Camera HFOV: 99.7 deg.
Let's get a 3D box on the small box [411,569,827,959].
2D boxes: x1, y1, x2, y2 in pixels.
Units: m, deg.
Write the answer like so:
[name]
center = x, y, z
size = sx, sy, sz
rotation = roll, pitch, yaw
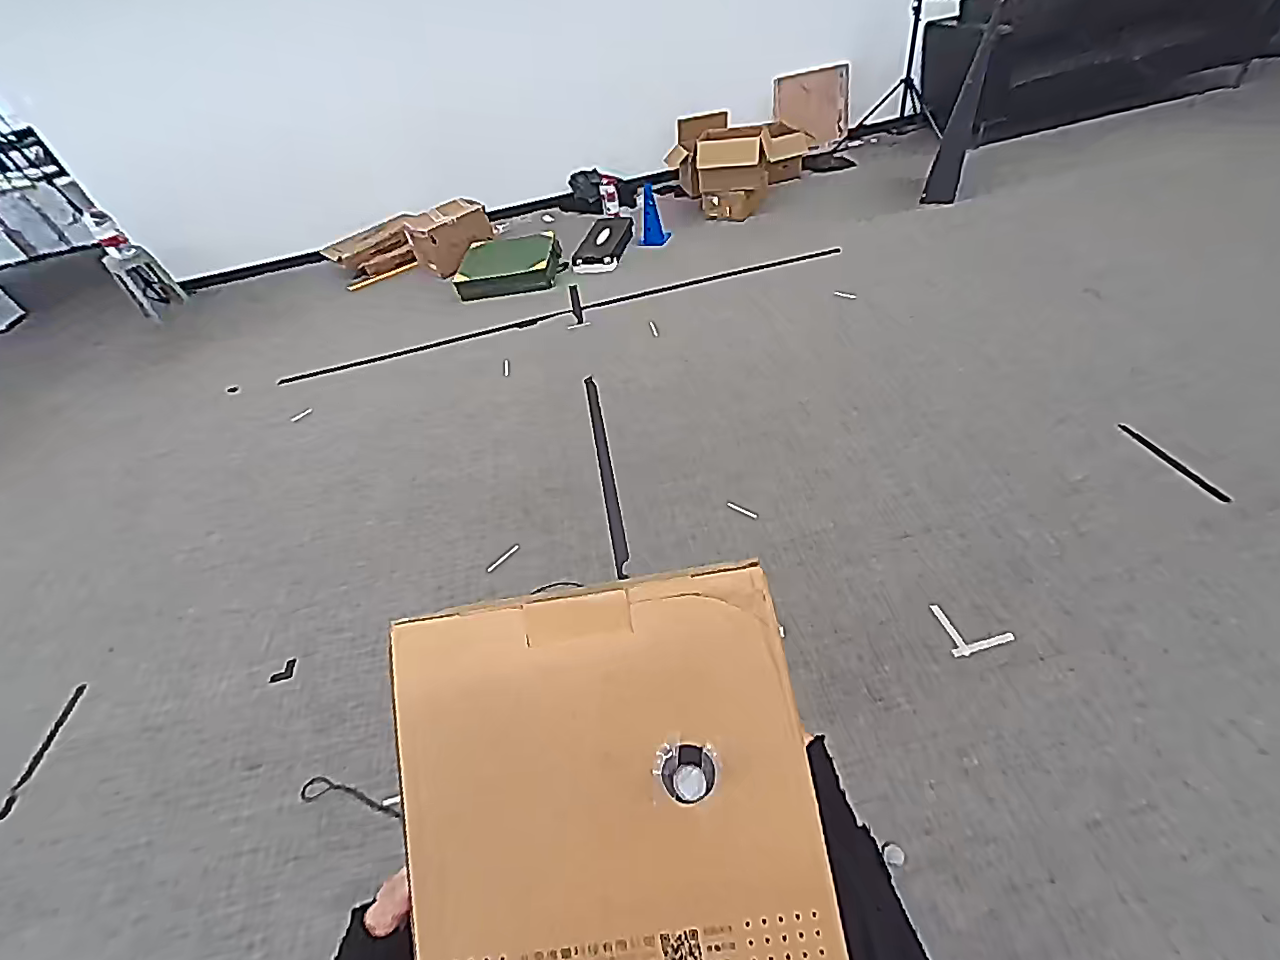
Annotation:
[small box]
center = -0.006, 0.152, 0.314
size = 0.168, 0.179, 0.176
rotation = -10, 80, 3
